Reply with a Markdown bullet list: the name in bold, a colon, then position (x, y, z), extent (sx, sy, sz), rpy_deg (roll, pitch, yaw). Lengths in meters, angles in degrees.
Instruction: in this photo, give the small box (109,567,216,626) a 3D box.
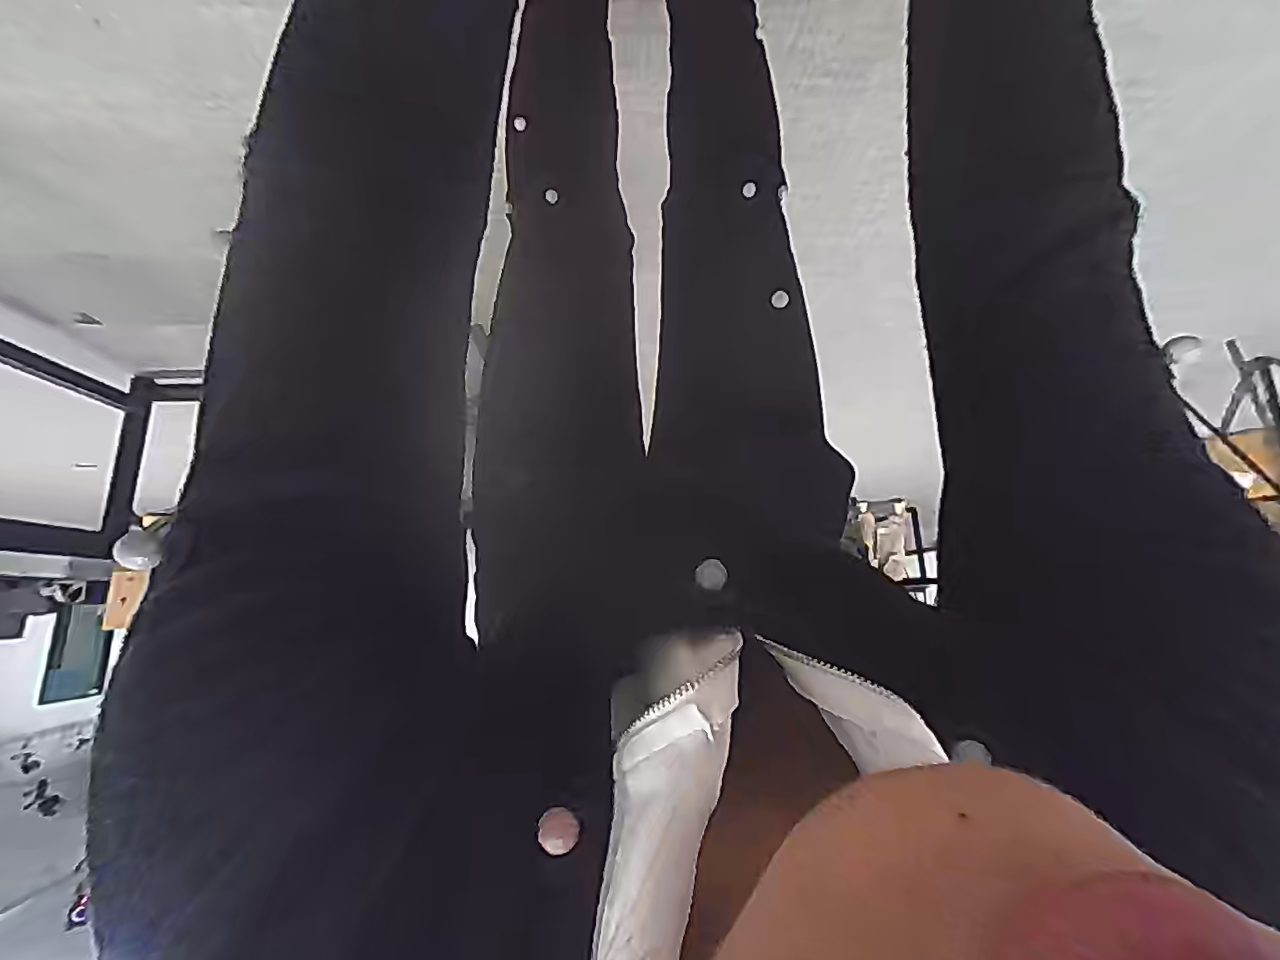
- **small box**: position (-1.437, 0.351, 1.638), extent (0.168, 0.176, 0.179), rpy_deg (0, 168, 0)
